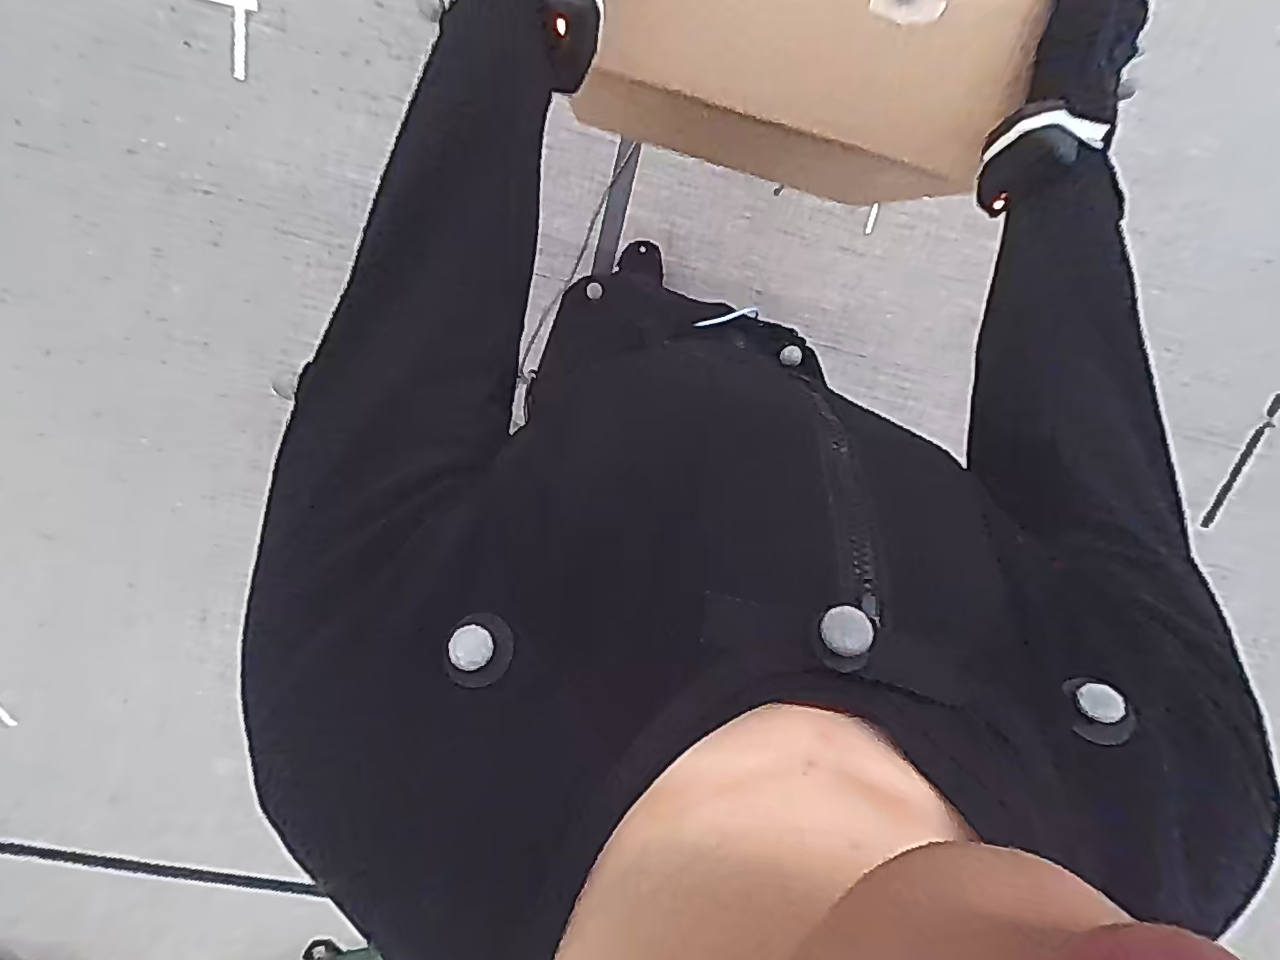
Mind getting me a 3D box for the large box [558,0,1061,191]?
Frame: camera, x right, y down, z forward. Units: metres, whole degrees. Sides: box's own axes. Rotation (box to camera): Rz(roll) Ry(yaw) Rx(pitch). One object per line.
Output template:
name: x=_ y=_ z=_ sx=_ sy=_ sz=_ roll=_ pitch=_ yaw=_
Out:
large box: x=0.151 y=-0.515 z=0.542 sx=0.408 sy=0.320 sz=0.320 roll=12 pitch=115 yaw=-8
